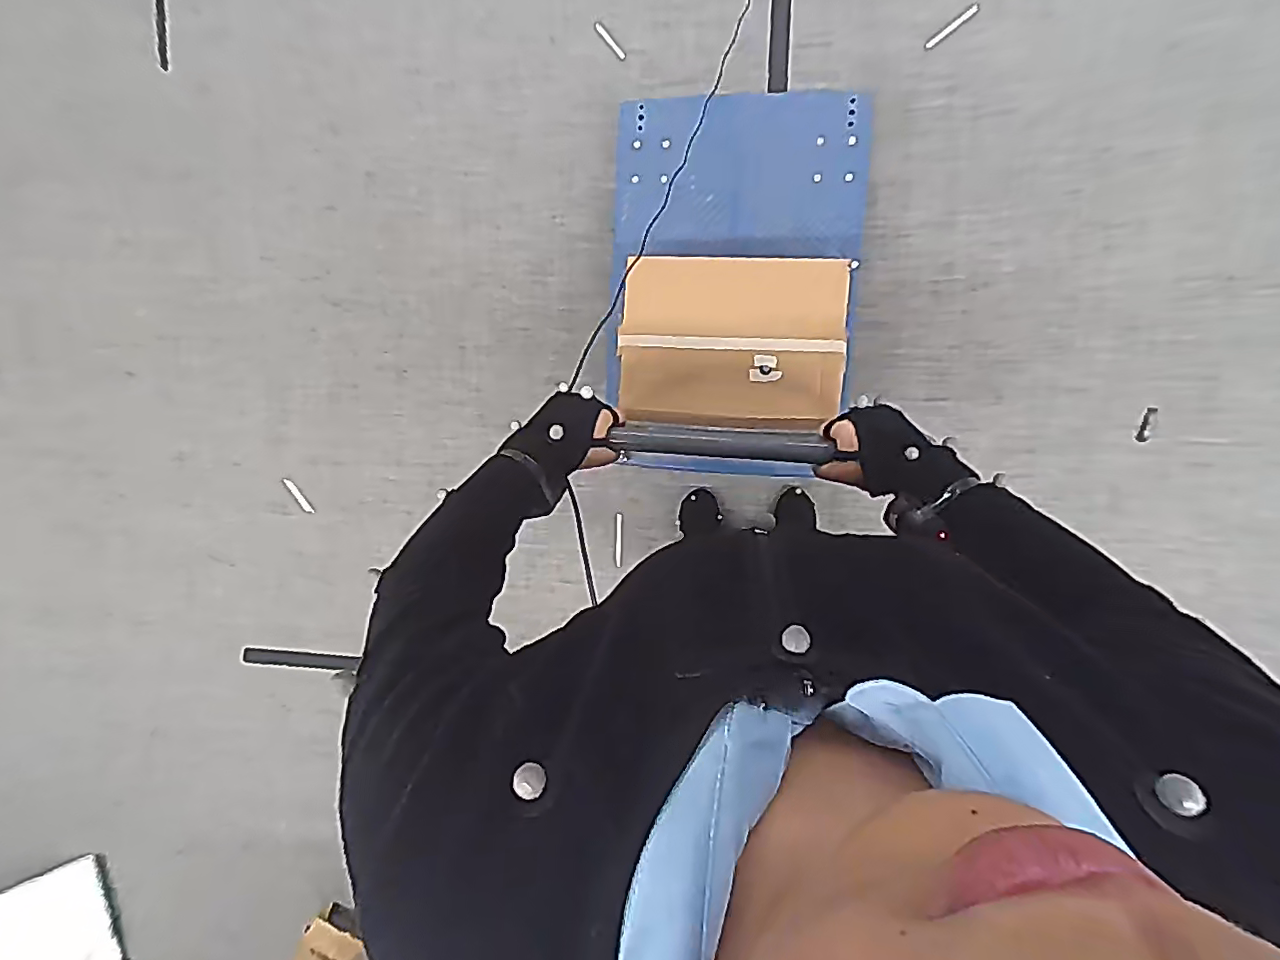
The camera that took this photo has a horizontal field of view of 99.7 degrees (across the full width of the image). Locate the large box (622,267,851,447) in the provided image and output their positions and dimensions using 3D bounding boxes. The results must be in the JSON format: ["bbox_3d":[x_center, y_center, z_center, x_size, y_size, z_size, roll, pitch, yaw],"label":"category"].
[{"bbox_3d":[0.186,-0.234,1.130,0.408,0.320,0.320,4,93,7],"label":"large box"}]
